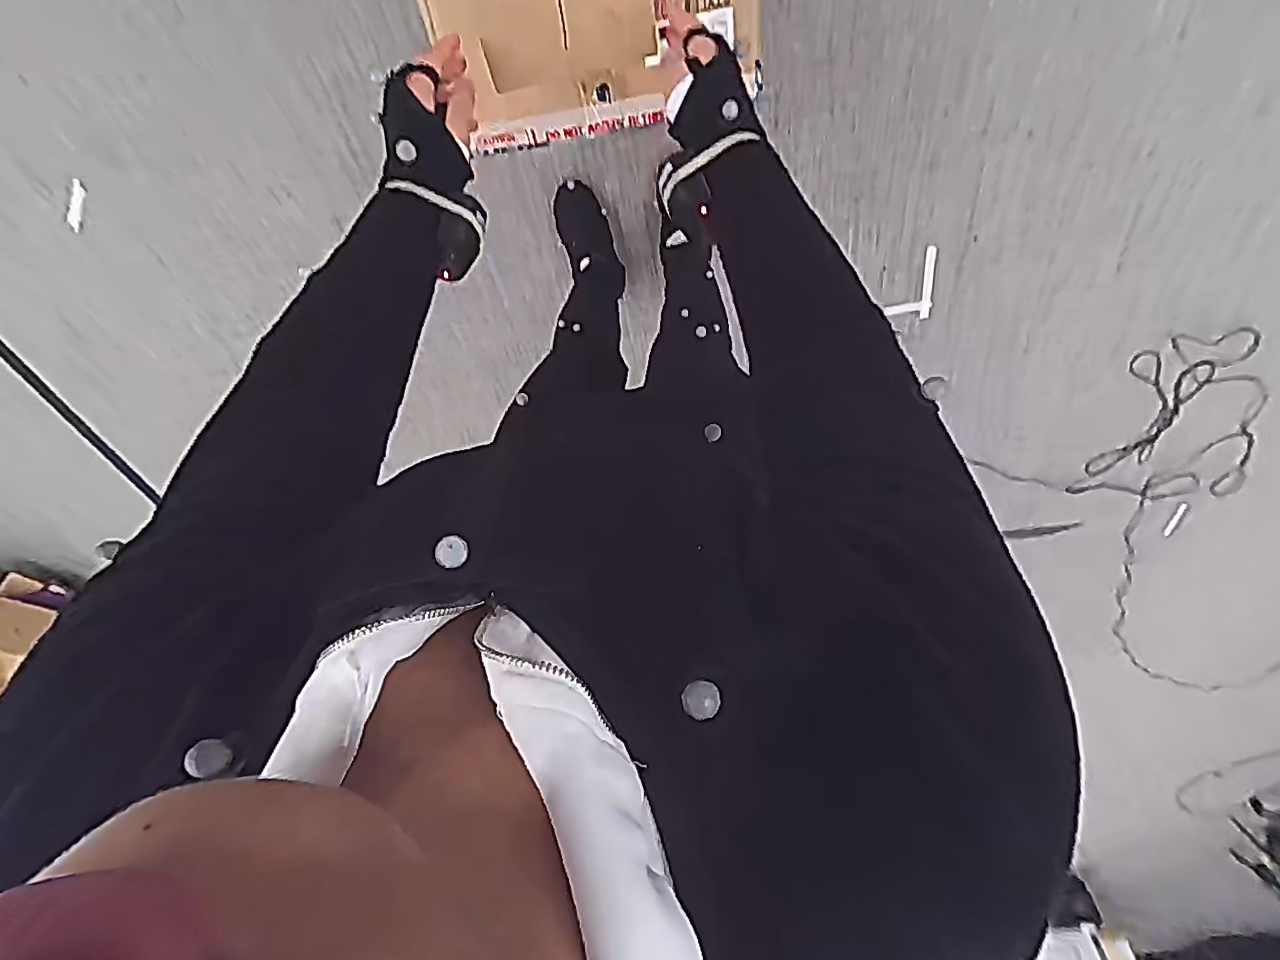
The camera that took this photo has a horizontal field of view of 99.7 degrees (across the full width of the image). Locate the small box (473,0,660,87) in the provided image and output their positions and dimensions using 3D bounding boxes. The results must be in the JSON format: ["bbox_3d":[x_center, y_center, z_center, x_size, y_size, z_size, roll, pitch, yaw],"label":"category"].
[{"bbox_3d":[-0.074,-0.517,0.530,0.168,0.176,0.179,-6,133,8],"label":"small box"}]
